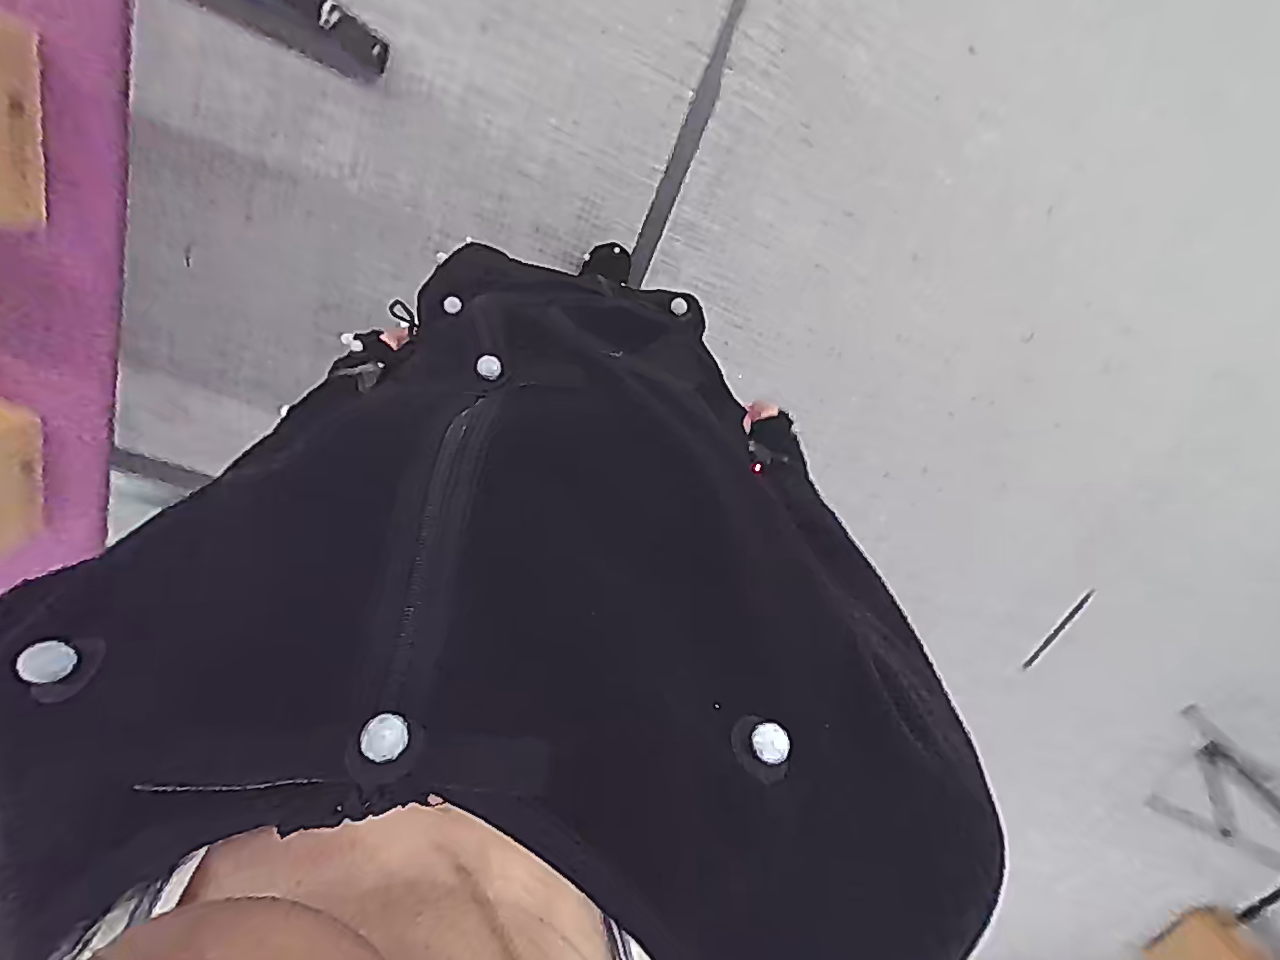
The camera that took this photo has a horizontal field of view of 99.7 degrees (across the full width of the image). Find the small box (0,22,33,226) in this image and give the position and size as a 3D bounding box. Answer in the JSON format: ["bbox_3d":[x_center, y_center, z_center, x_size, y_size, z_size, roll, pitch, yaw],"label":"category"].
[{"bbox_3d":[-0.617,-0.300,0.400,0.179,0.176,0.168,18,113,-13],"label":"small box"}]
